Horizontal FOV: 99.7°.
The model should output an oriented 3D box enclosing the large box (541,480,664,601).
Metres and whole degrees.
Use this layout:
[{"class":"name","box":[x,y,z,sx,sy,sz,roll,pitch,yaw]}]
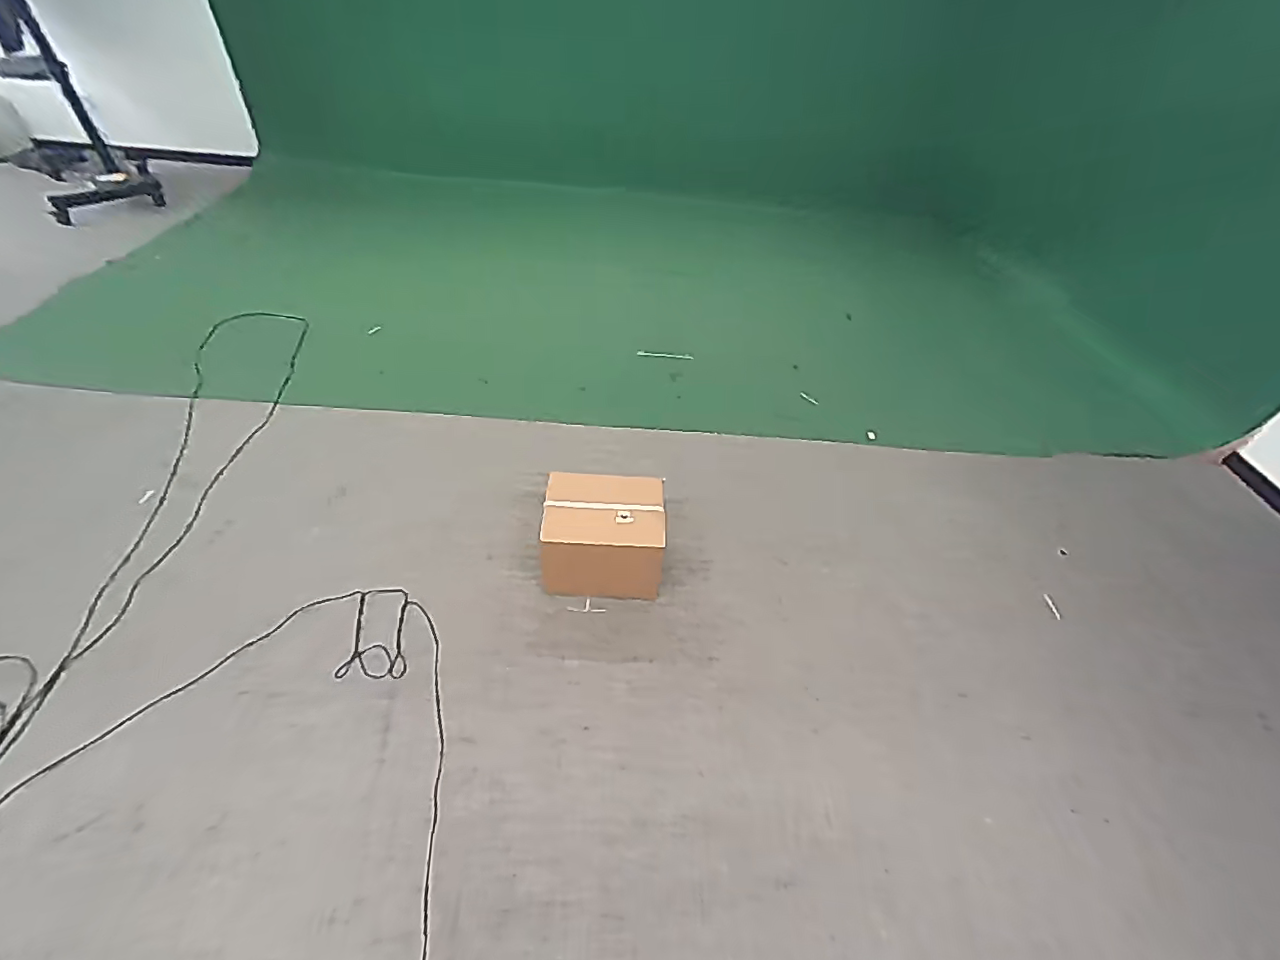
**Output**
[{"class":"large box","box":[-0.137,0.221,1.933,0.408,0.320,0.320,3,45,-4]}]
